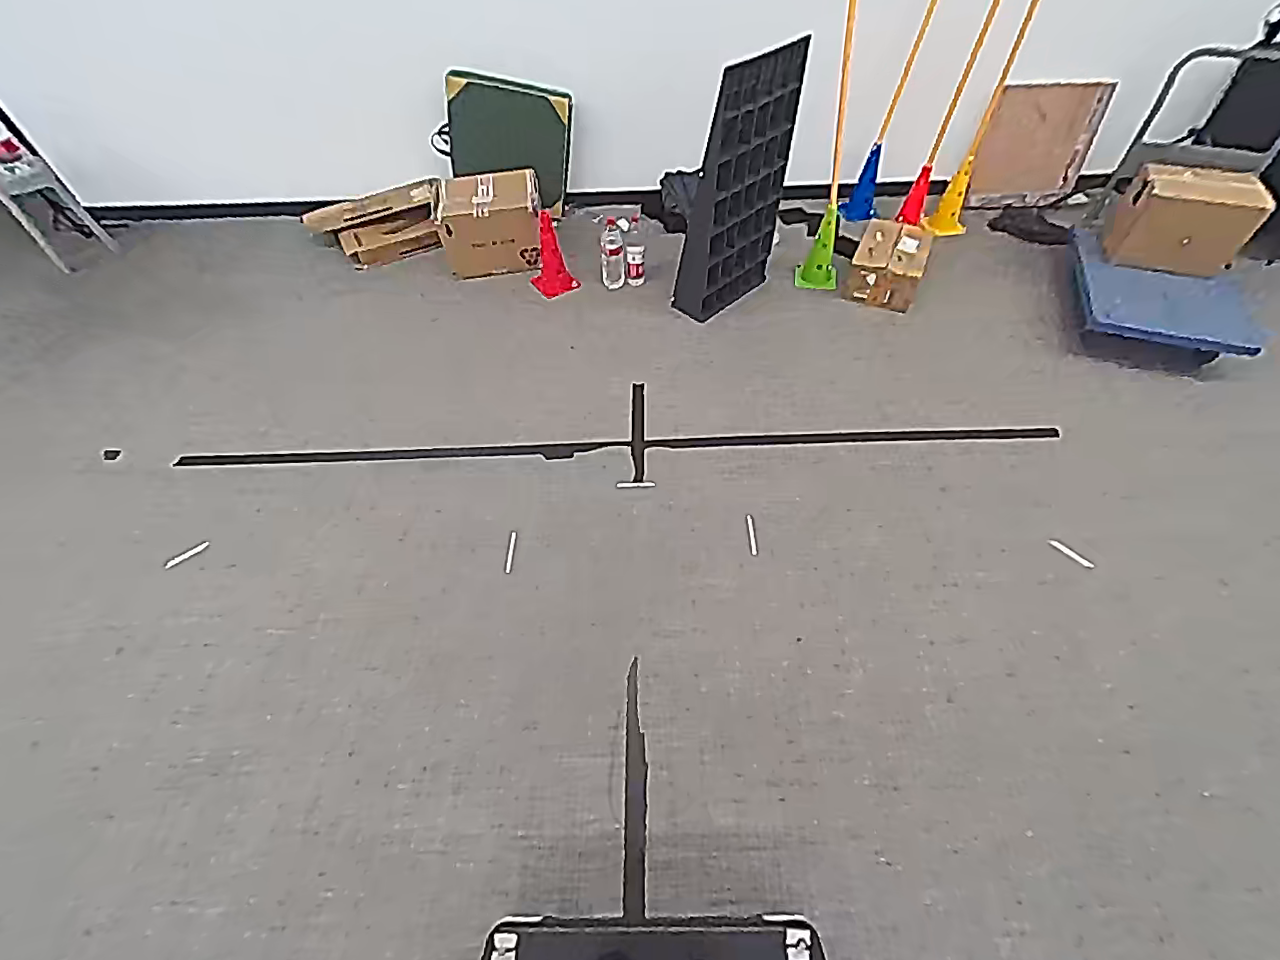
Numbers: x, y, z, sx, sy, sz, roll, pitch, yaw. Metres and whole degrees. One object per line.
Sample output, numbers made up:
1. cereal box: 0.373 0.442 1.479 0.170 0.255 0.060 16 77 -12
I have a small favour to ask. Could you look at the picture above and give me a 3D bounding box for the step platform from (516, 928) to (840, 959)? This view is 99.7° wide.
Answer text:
1. step platform: 0.078 1.053 1.014 0.684 0.204 0.286 2 51 3
